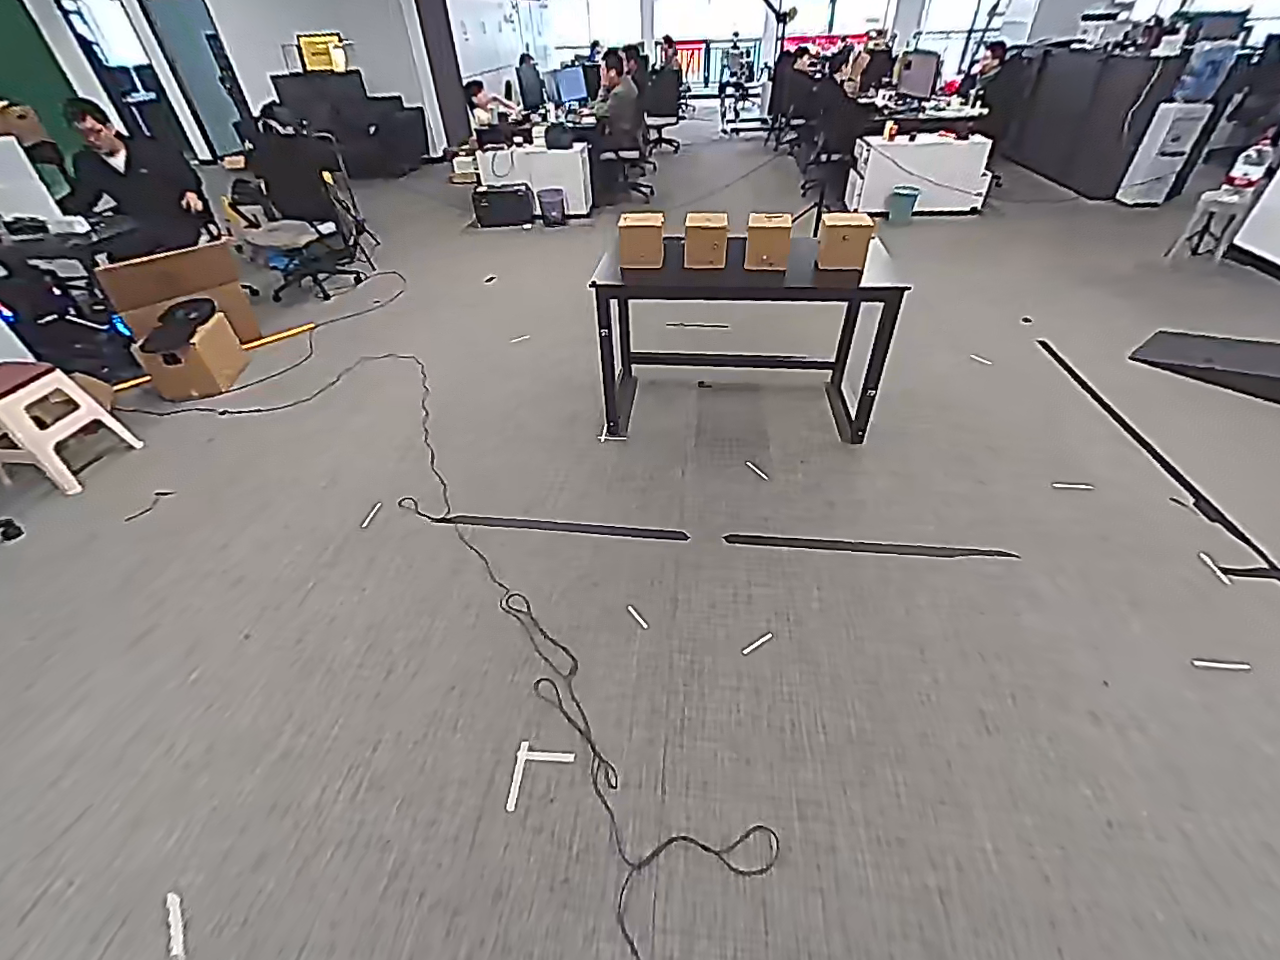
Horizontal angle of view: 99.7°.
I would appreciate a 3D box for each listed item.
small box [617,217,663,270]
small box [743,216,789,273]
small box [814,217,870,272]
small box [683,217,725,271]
[{"bbox_3d":[0.001,-0.982,2.248,0.179,0.176,0.168,2,40,4],"label":"small box"},{"bbox_3d":[0.509,-0.954,2.191,0.168,0.176,0.179,5,41,9],"label":"small box"},{"bbox_3d":[0.798,-0.939,2.158,0.179,0.176,0.168,4,41,8],"label":"small box"},{"bbox_3d":[0.263,-0.973,2.229,0.168,0.176,0.179,3,40,5],"label":"small box"}]
